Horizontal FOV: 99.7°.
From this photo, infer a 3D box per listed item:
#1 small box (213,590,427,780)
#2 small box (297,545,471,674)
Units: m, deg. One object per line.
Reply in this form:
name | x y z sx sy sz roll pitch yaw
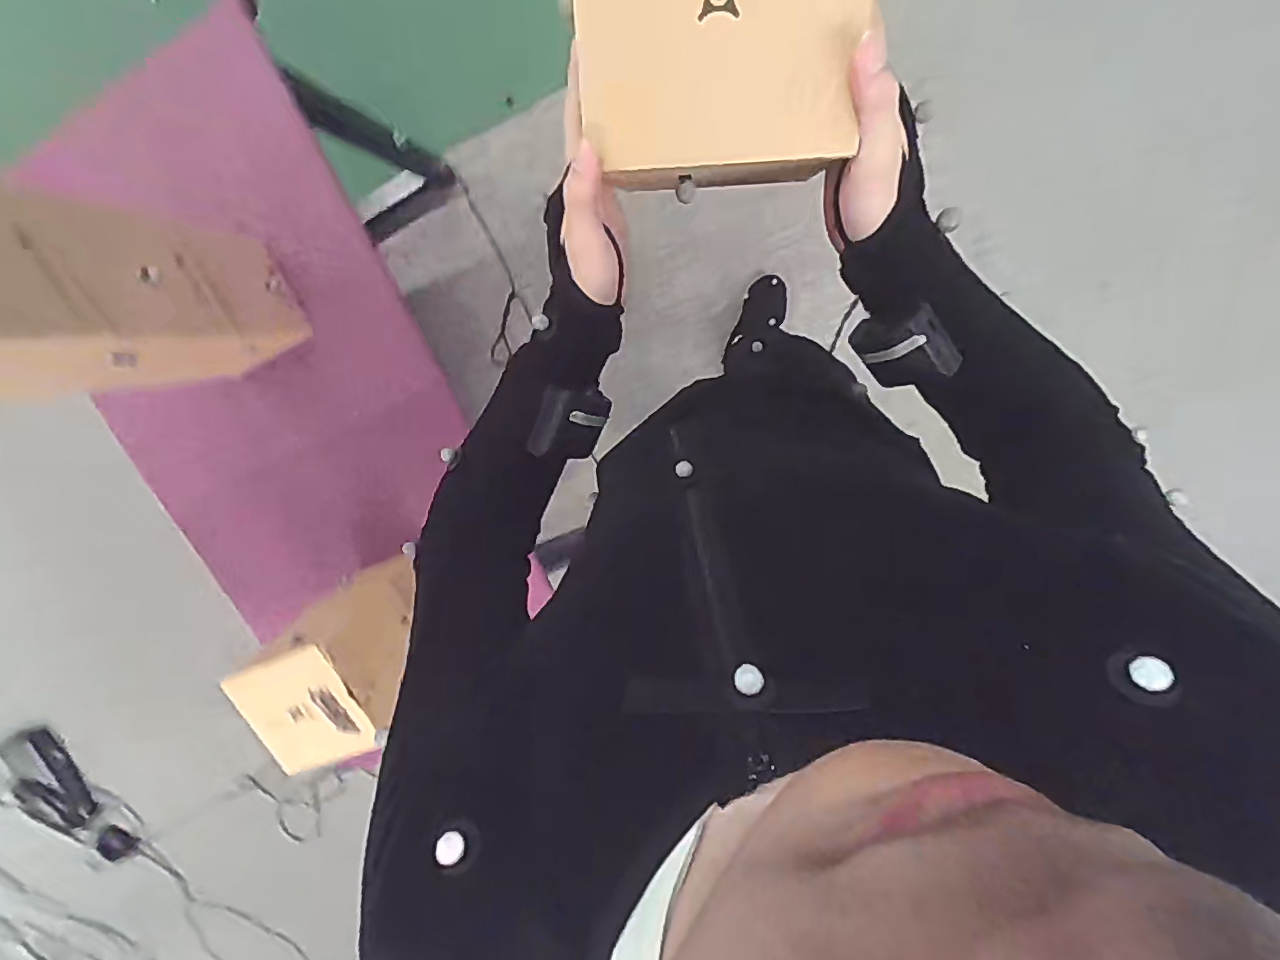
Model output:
small box | -0.436 0.284 0.775 0.179 0.176 0.168 -22 104 14
small box | -0.428 0.237 0.932 0.179 0.176 0.168 -23 104 12
